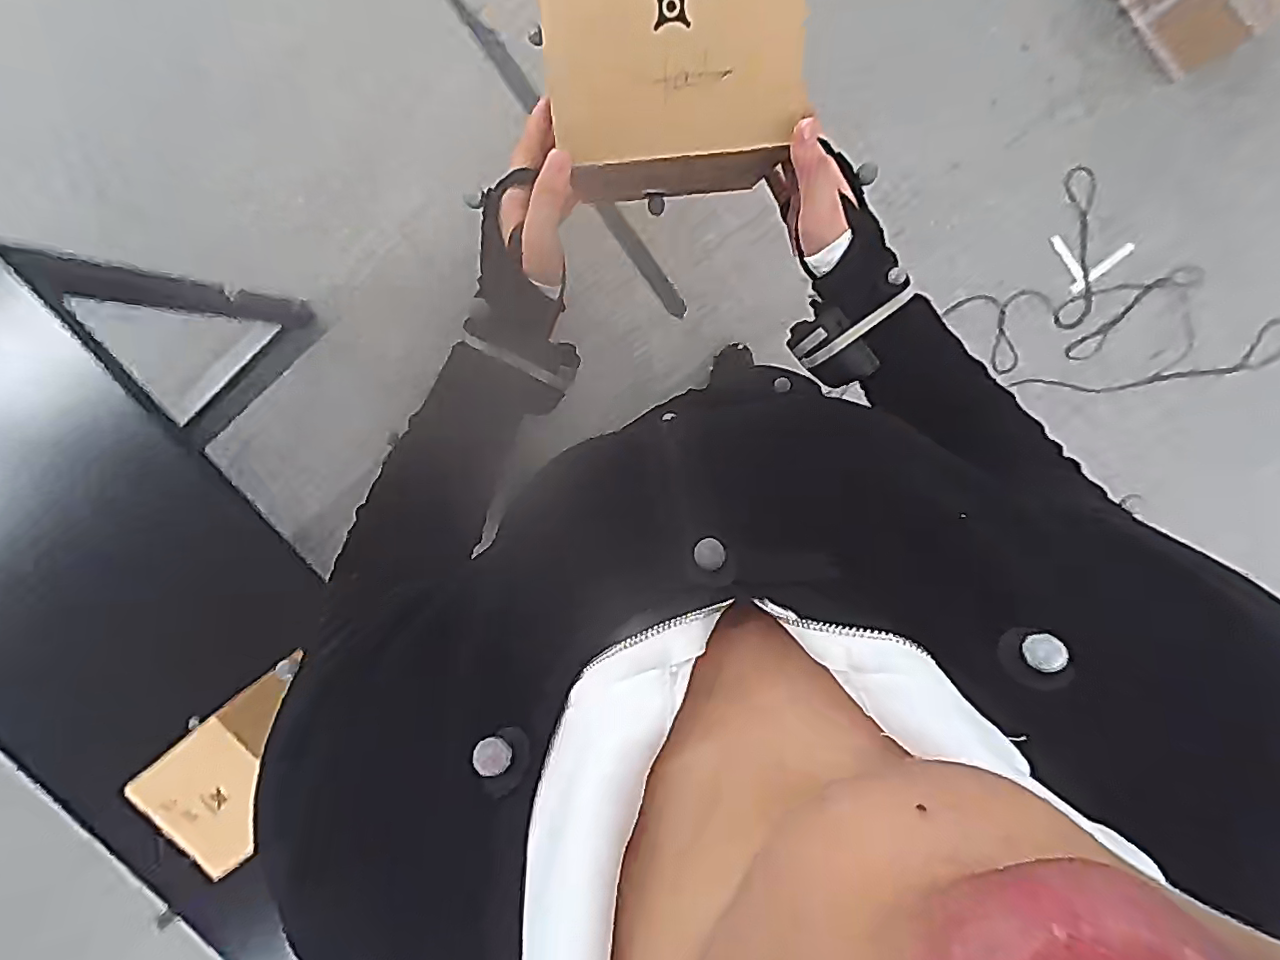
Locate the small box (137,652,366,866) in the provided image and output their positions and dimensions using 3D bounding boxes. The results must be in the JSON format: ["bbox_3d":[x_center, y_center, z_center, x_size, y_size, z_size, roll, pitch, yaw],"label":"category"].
[{"bbox_3d":[-0.530,0.383,0.772,0.179,0.176,0.168,-38,97,9],"label":"small box"}]

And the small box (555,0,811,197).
[{"bbox_3d":[0.025,-0.333,0.416,0.168,0.176,0.179,-4,110,1],"label":"small box"}]
